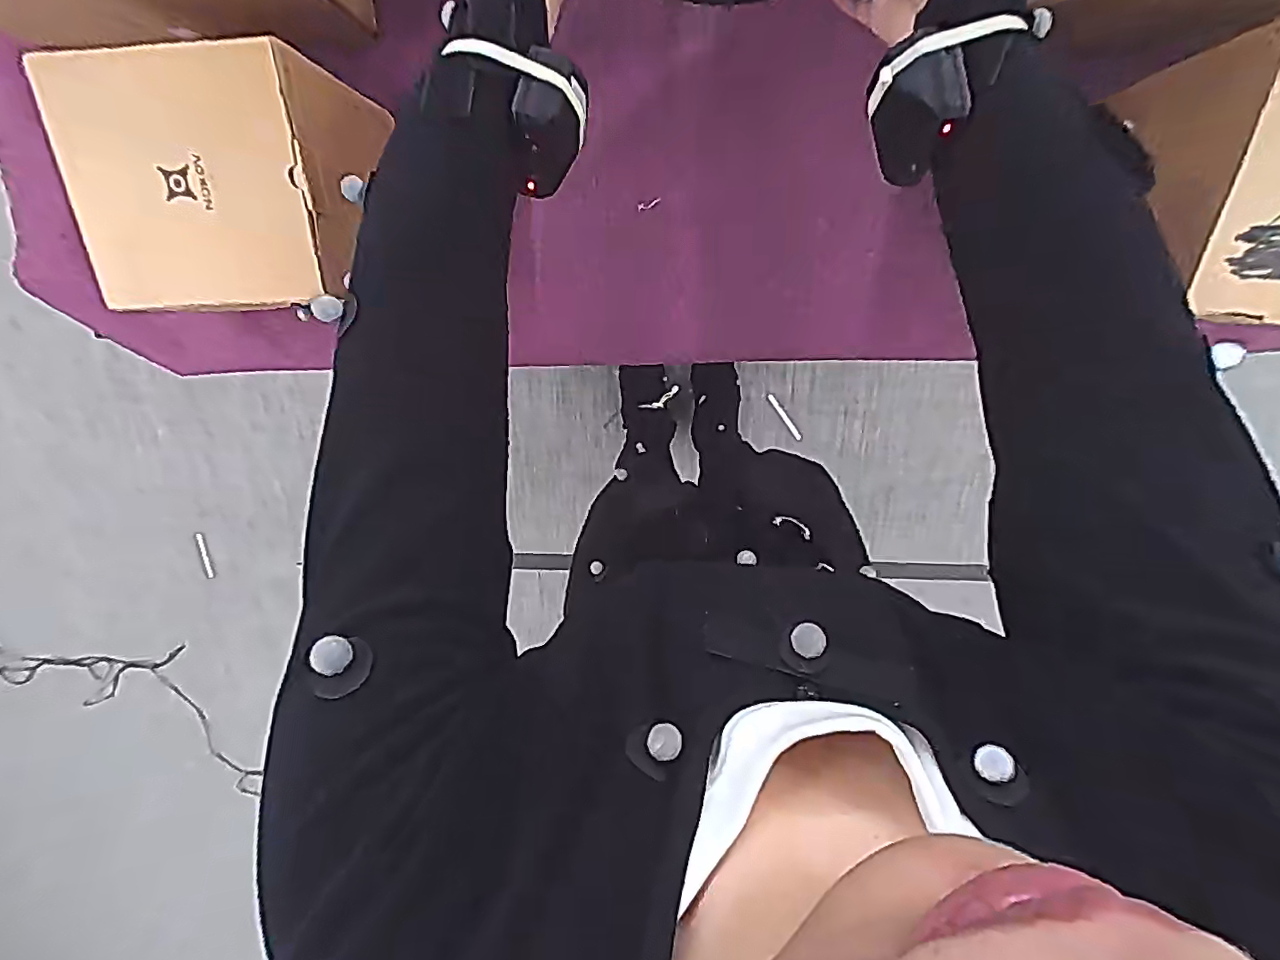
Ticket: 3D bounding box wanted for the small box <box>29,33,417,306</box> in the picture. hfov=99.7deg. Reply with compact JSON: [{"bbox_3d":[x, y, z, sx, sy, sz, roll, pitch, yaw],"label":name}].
[{"bbox_3d":[-0.320,-0.237,0.459,0.179,0.176,0.168,-3,109,3],"label":"small box"}]
